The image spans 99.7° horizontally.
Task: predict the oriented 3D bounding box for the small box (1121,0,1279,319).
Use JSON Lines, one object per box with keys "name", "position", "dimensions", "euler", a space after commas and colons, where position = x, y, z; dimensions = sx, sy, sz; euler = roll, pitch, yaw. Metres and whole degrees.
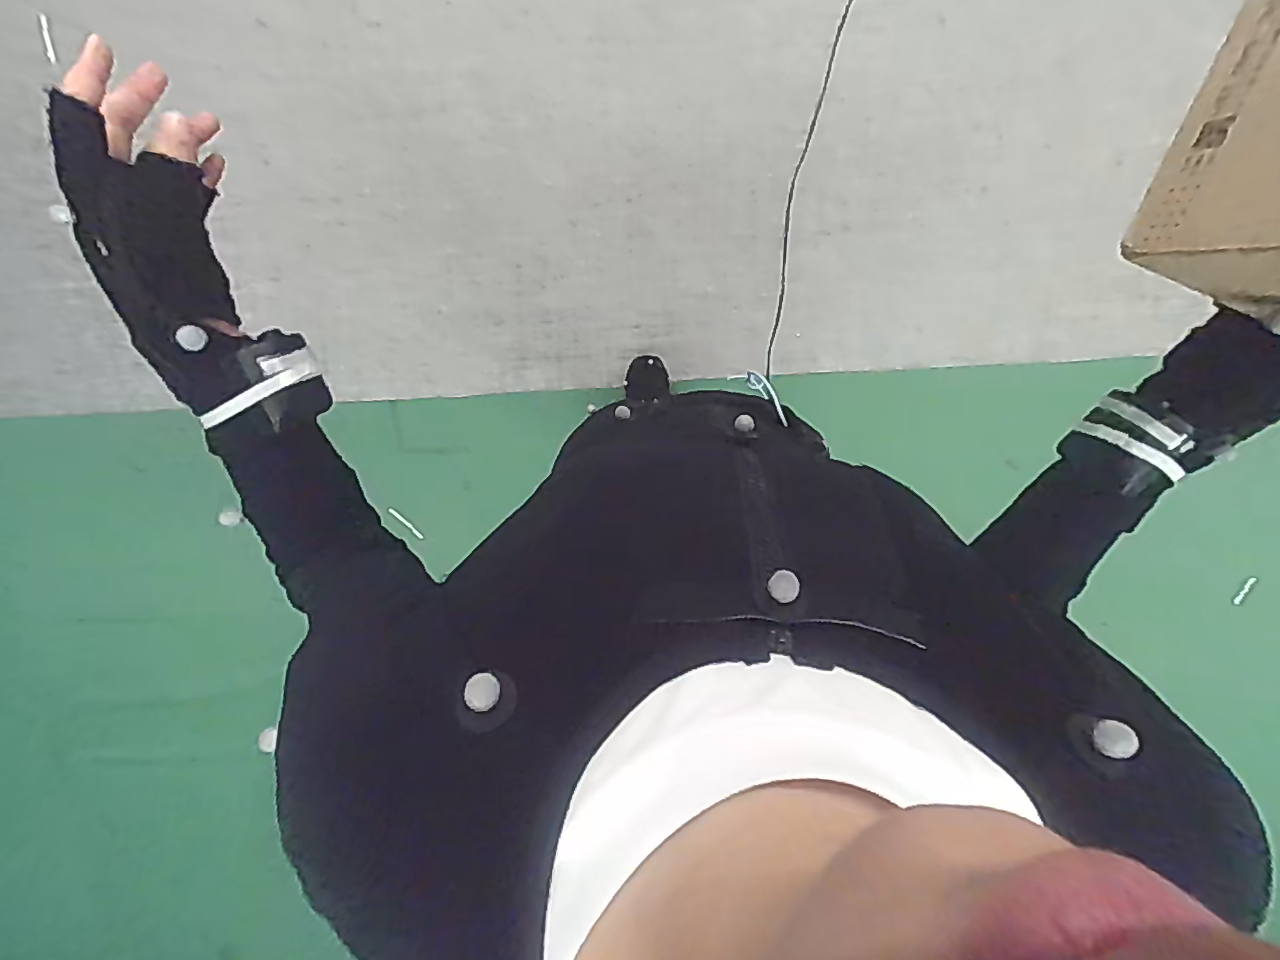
{"name": "small box", "position": [0.388, -0.163, 0.237], "dimensions": [0.179, 0.176, 0.168], "euler": [12, 107, -15]}
